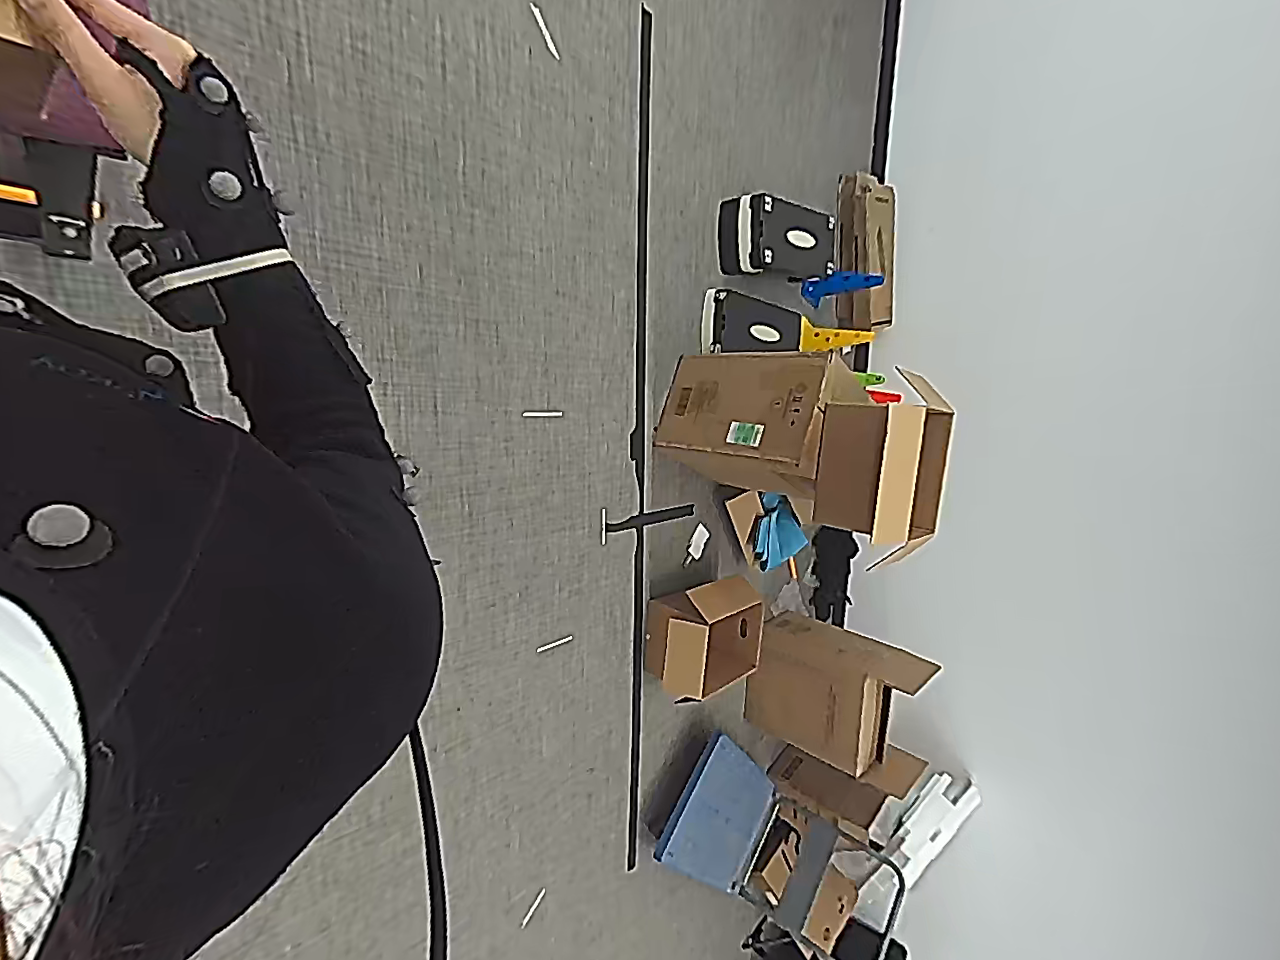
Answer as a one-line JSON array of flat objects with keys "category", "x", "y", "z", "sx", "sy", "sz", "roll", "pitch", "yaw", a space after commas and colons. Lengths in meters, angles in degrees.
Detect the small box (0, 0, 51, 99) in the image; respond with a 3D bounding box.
[{"category": "small box", "x": -0.429, "y": -0.319, "z": 0.262, "sx": 0.179, "sy": 0.176, "sz": 0.168, "roll": -11, "pitch": 112, "yaw": -49}]
